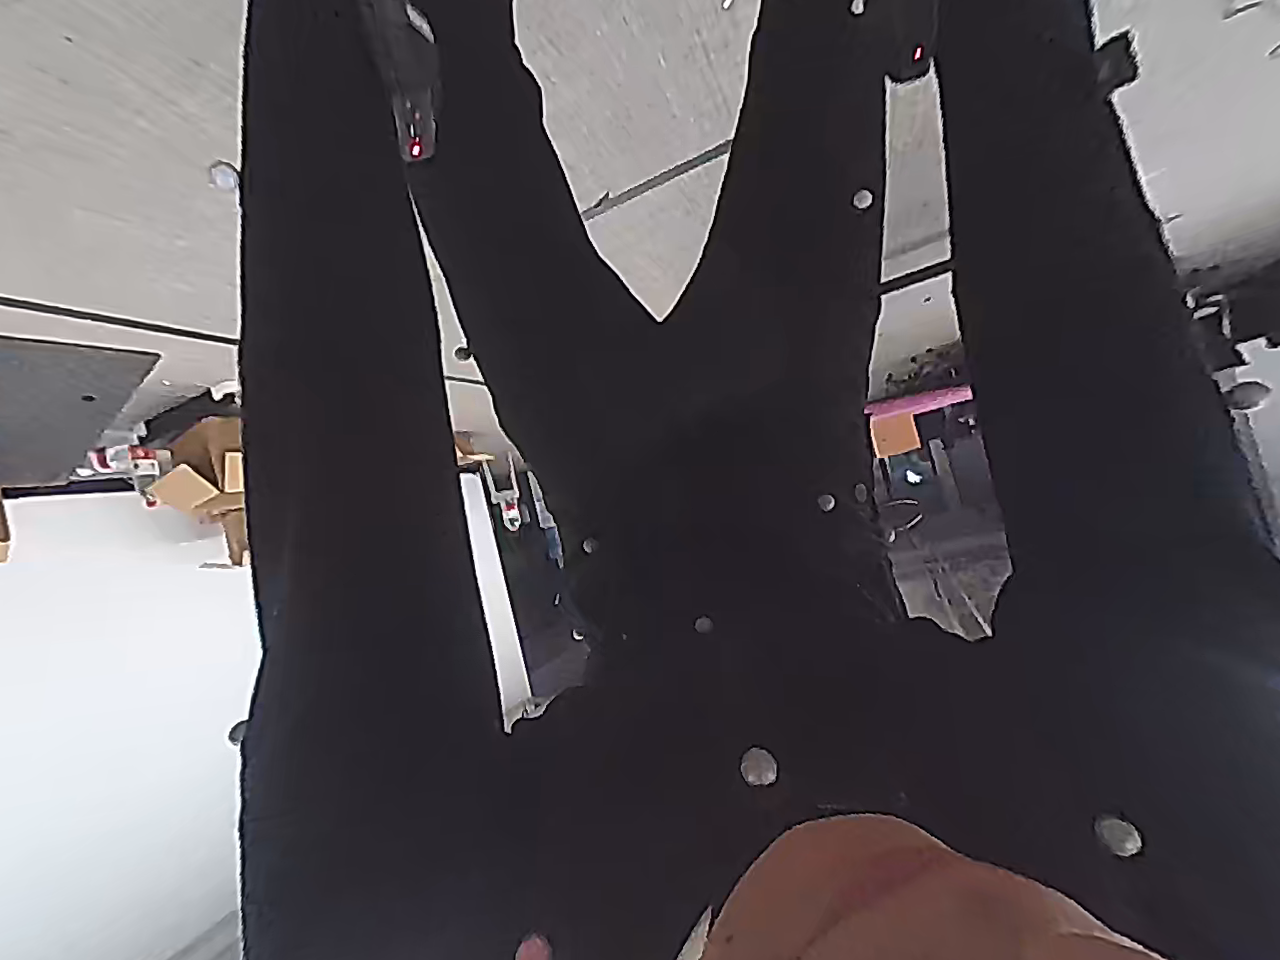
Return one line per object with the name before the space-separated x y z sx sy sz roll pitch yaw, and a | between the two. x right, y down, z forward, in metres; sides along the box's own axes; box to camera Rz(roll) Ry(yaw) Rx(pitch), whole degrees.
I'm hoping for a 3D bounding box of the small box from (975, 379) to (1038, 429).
small box | 1.554 -0.324 2.303 0.168 0.176 0.179 -15 177 22
